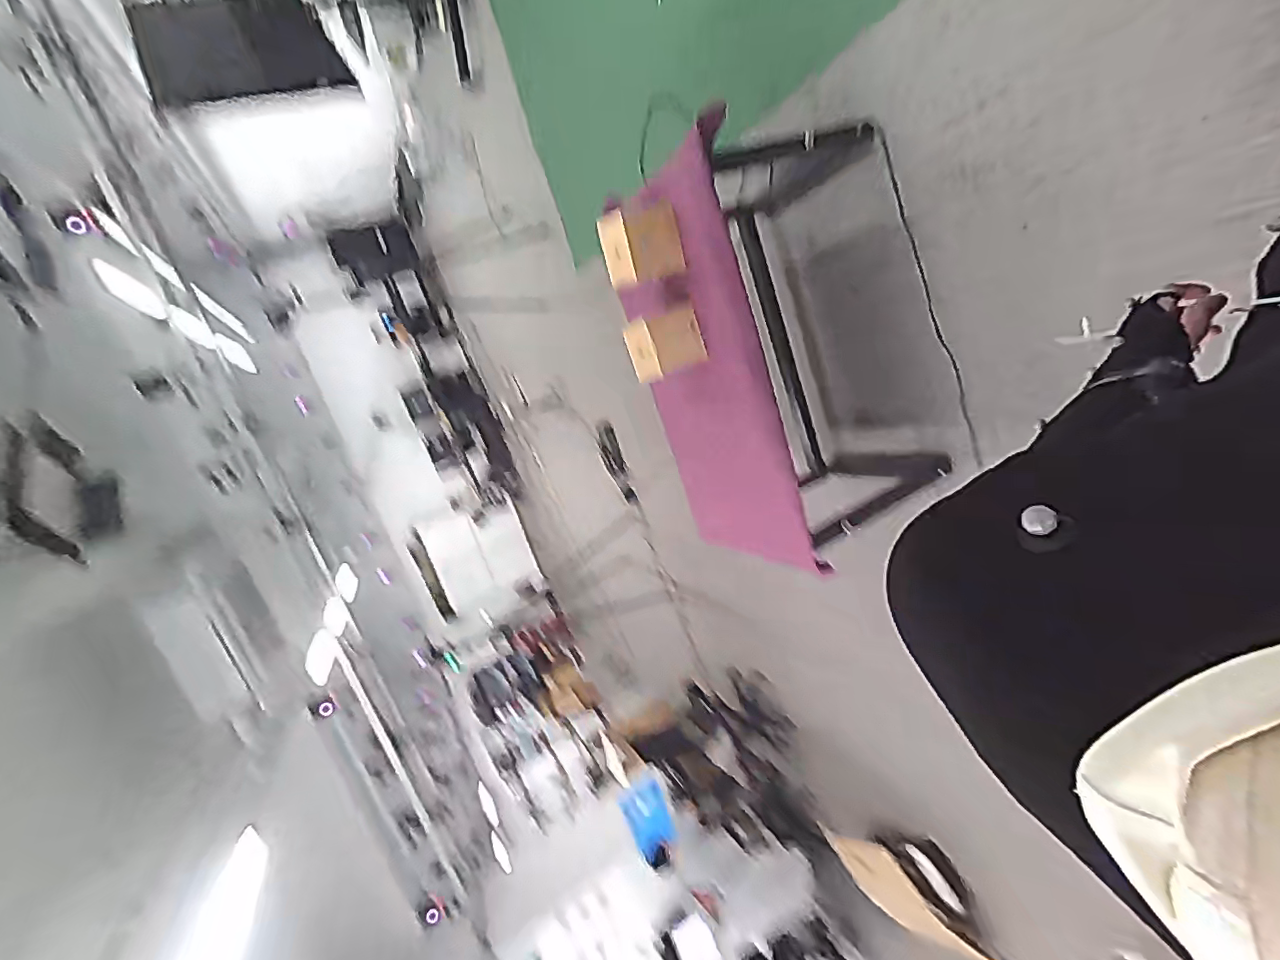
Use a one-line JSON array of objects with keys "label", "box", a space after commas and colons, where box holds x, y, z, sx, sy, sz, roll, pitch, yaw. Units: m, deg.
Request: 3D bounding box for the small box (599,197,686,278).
[{"label": "small box", "box": [0.009, -0.698, 1.554, 0.168, 0.176, 0.179, 26, 137, 59]}]

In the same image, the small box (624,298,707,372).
[{"label": "small box", "box": [0.078, -0.442, 1.659, 0.179, 0.176, 0.168, 8, 121, 65]}]
